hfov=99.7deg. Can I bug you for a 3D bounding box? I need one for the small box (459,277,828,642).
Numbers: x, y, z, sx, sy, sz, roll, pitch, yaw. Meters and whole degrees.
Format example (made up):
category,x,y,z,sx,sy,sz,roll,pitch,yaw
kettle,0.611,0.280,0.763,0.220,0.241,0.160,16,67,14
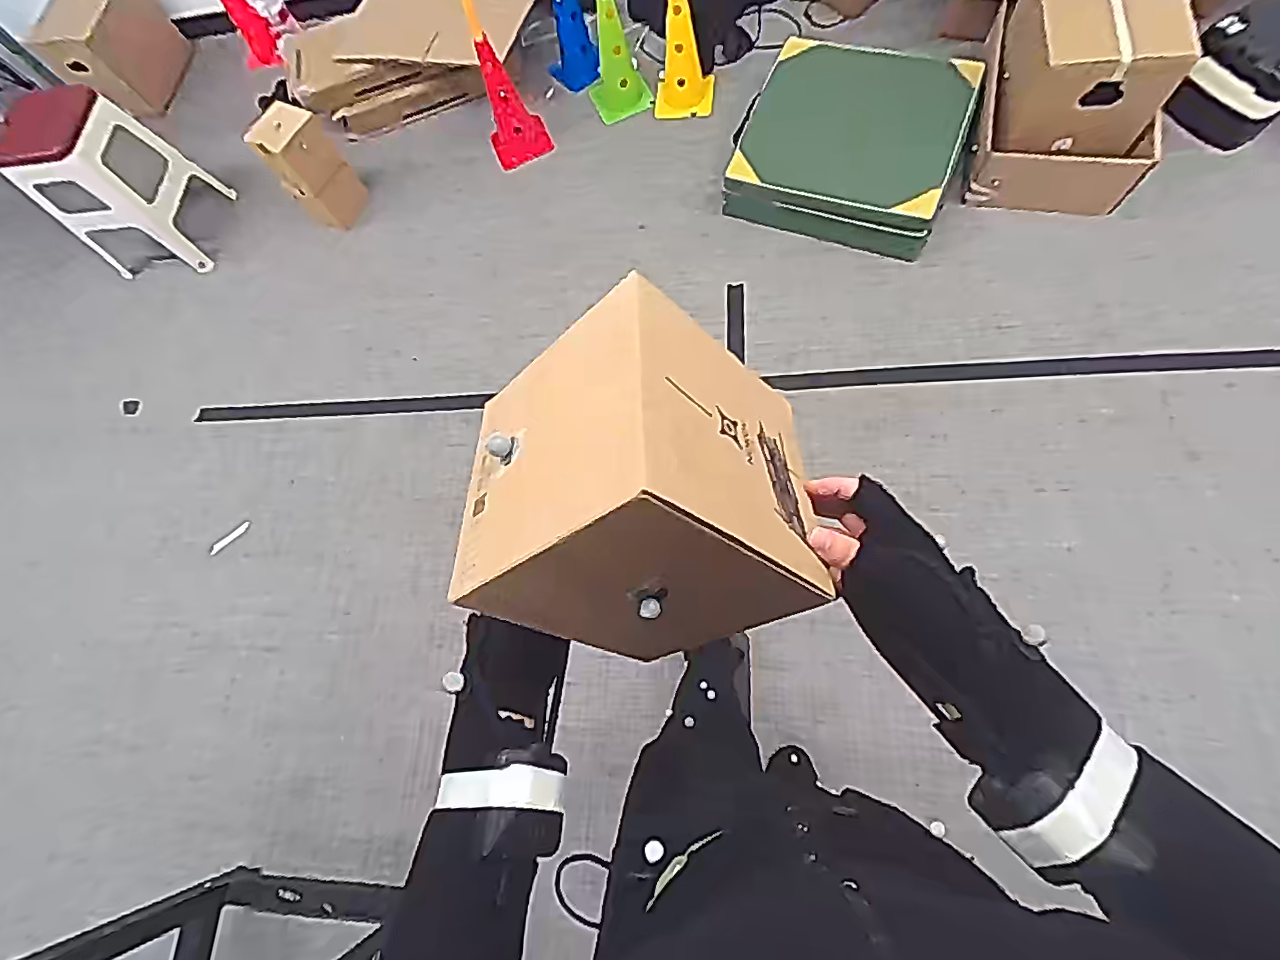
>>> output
category,x,y,z,sx,sy,sz,roll,pitch,yaw
small box,0.002,0.005,0.387,0.176,0.179,0.168,-31,45,34
